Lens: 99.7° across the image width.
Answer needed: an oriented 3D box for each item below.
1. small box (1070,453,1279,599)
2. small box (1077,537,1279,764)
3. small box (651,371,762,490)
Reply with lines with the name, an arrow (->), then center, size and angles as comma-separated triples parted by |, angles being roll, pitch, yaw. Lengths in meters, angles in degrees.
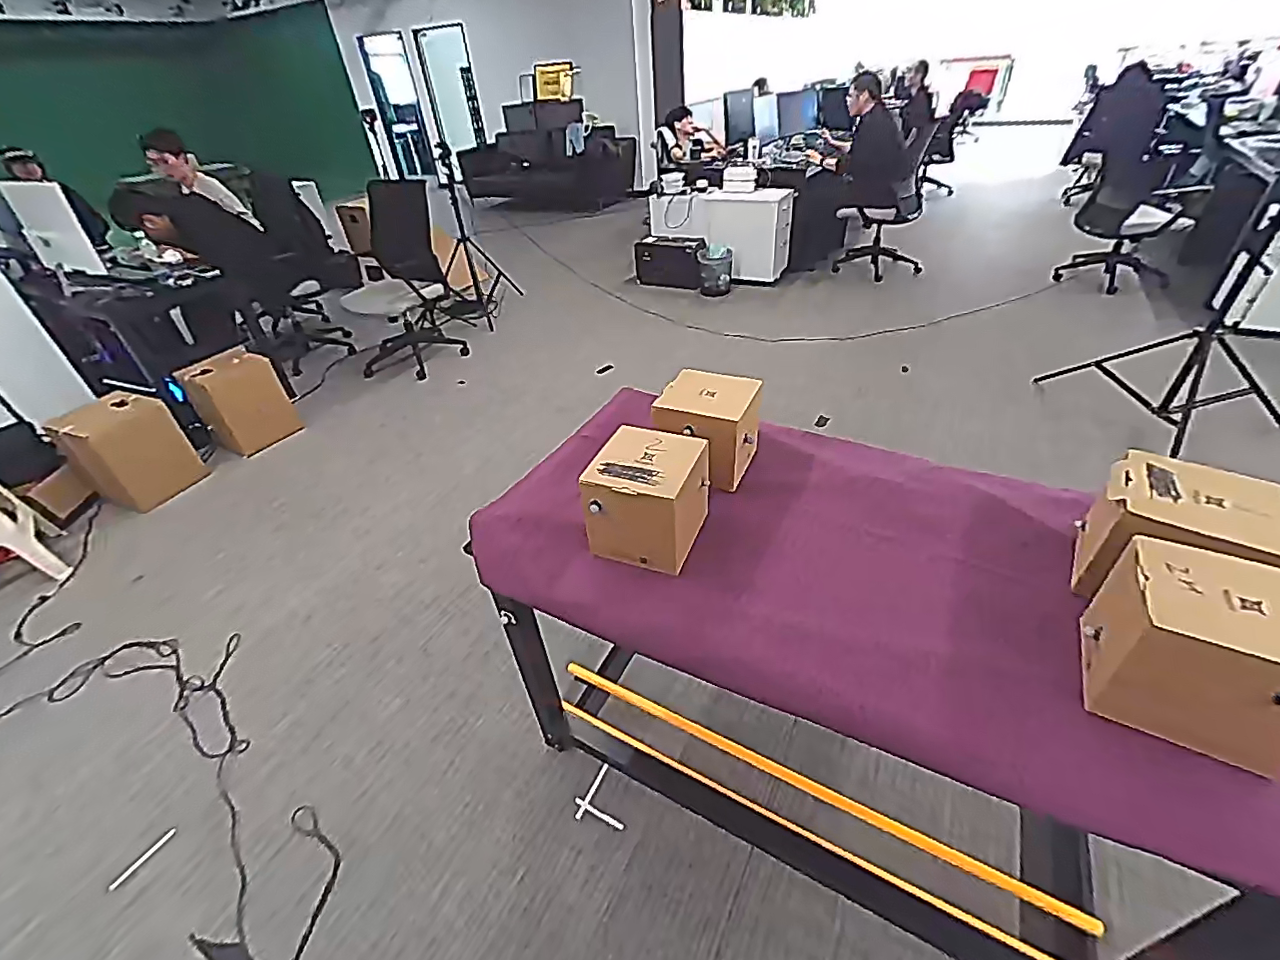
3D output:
small box -> 0.762, 0.091, 0.782 | 0.179, 0.176, 0.168 | 22, 46, 29
small box -> 0.664, 0.203, 0.647 | 0.179, 0.176, 0.168 | 17, 41, 27
small box -> 0.138, -0.100, 1.105 | 0.179, 0.176, 0.168 | 13, 41, 22
